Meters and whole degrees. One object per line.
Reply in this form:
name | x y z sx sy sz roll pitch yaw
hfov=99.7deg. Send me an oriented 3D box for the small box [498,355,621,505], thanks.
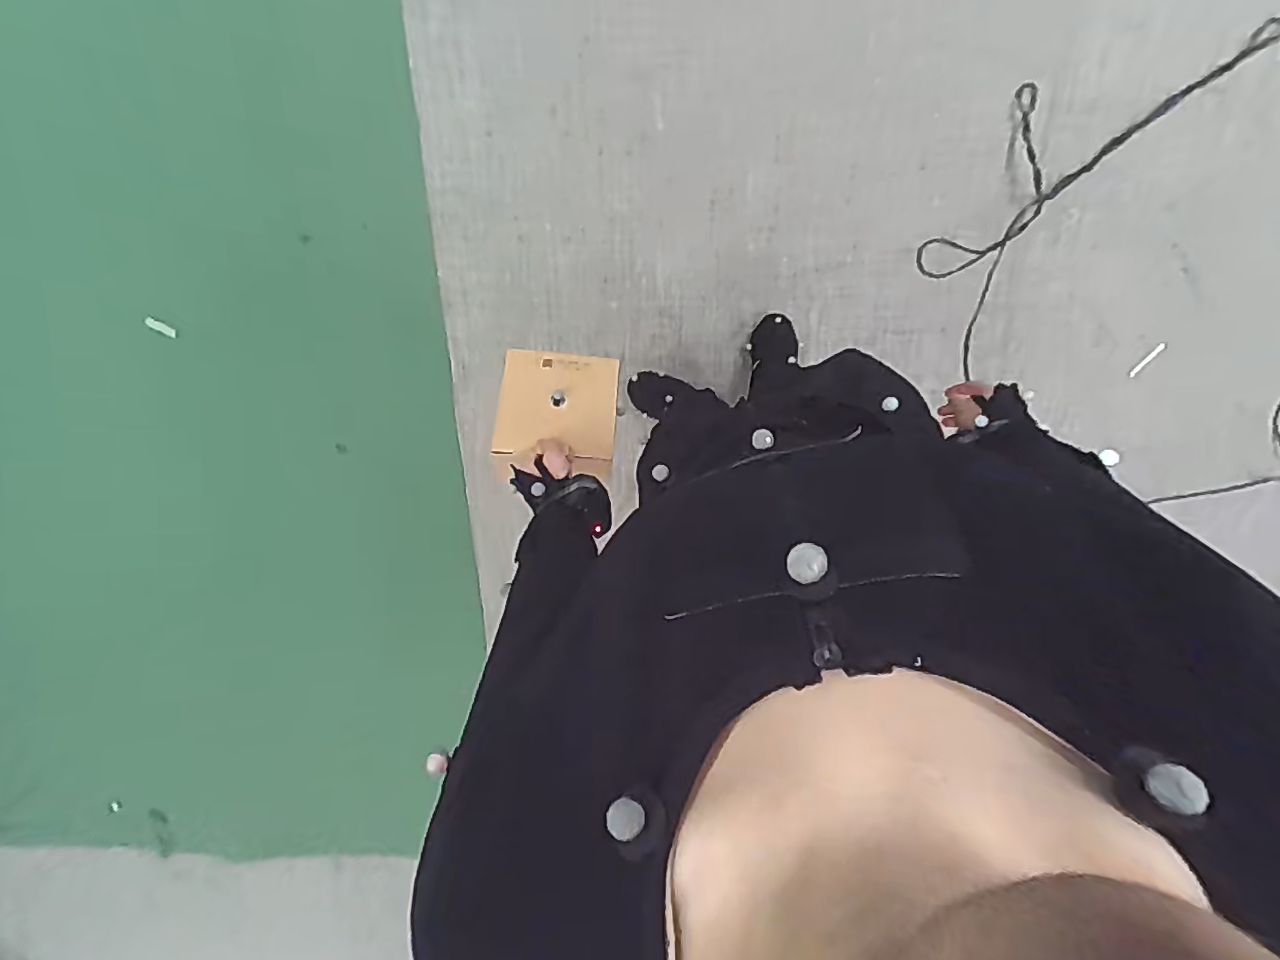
small box | -0.117 -0.073 0.832 0.168 0.179 0.176 4 66 -5
